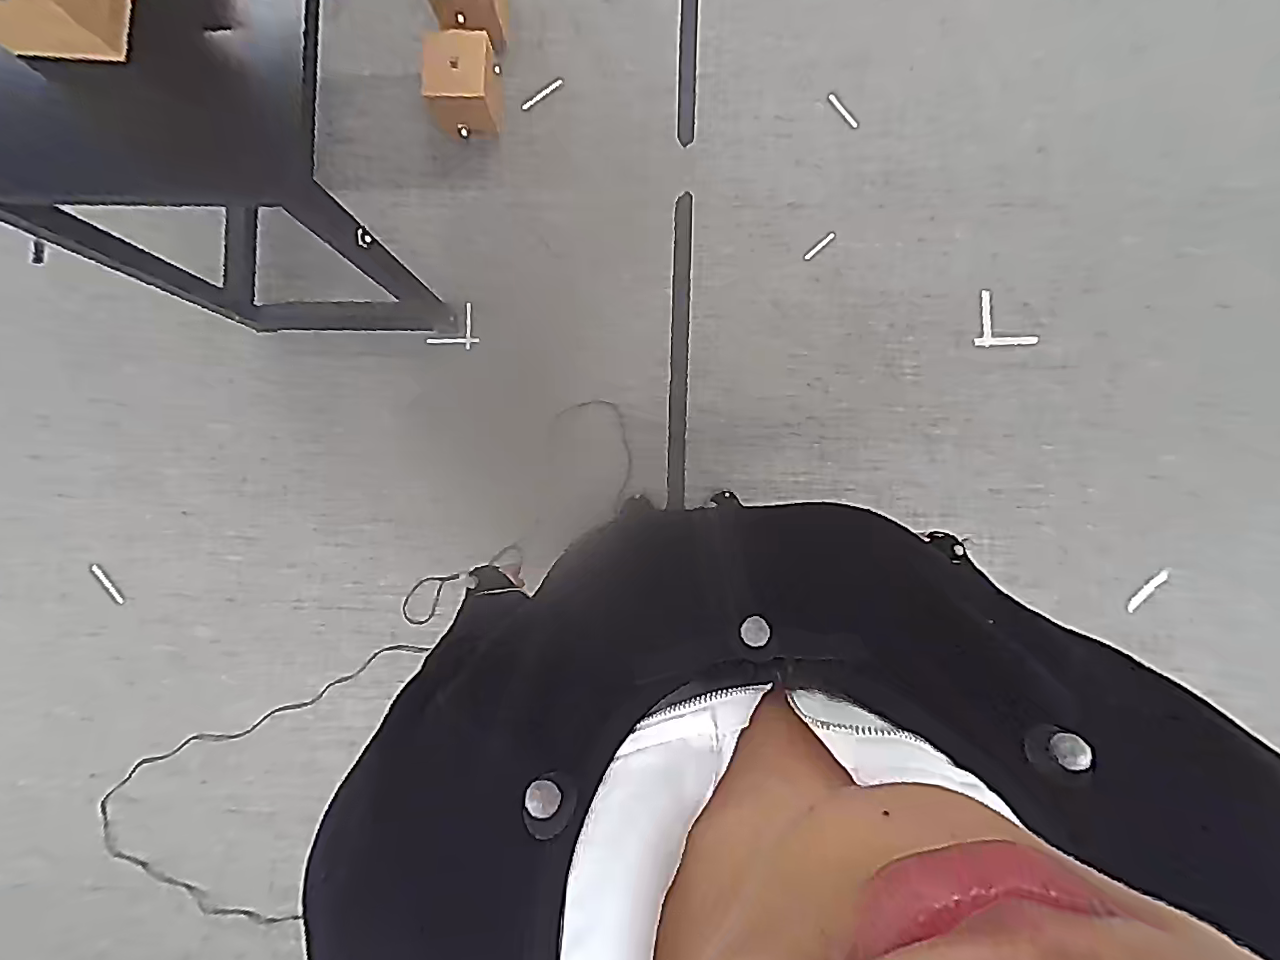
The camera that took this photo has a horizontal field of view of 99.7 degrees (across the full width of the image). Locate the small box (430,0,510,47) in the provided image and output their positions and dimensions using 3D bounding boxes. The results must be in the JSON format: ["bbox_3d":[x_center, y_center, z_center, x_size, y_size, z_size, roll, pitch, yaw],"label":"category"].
[{"bbox_3d":[-0.467,-1.330,1.480,0.179,0.176,0.168,0,89,1],"label":"small box"}]

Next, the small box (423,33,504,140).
[{"bbox_3d":[-0.476,-1.067,1.475,0.168,0.176,0.179,1,89,2],"label":"small box"}]

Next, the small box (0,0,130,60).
[{"bbox_3d":[-0.855,-0.720,0.741,0.179,0.176,0.168,4,88,1],"label":"small box"}]
